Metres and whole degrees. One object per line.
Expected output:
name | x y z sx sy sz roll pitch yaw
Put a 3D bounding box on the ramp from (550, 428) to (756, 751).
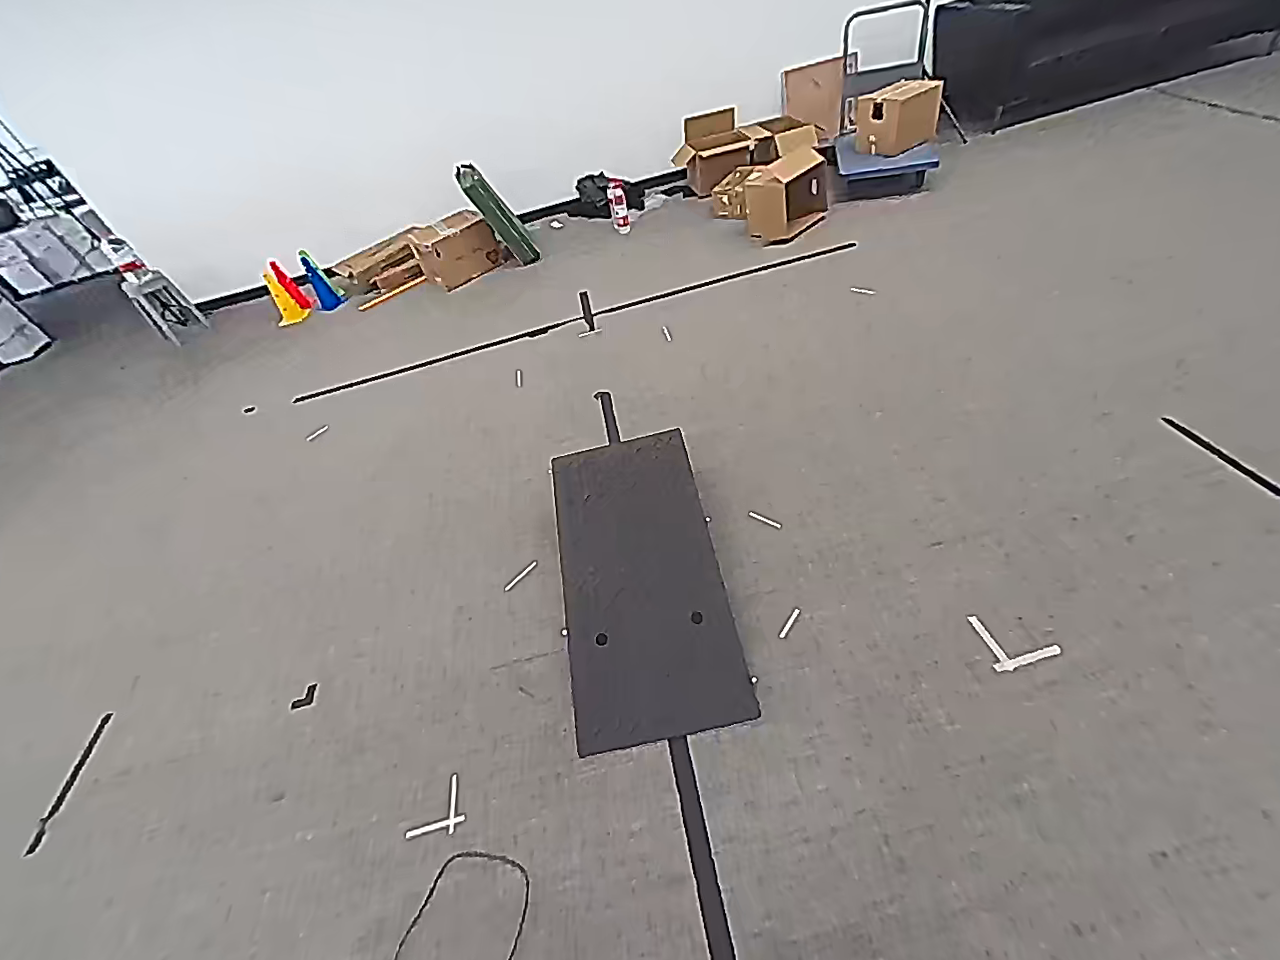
ramp | -0.009 0.265 1.701 0.509 0.206 0.991 -14 45 0
